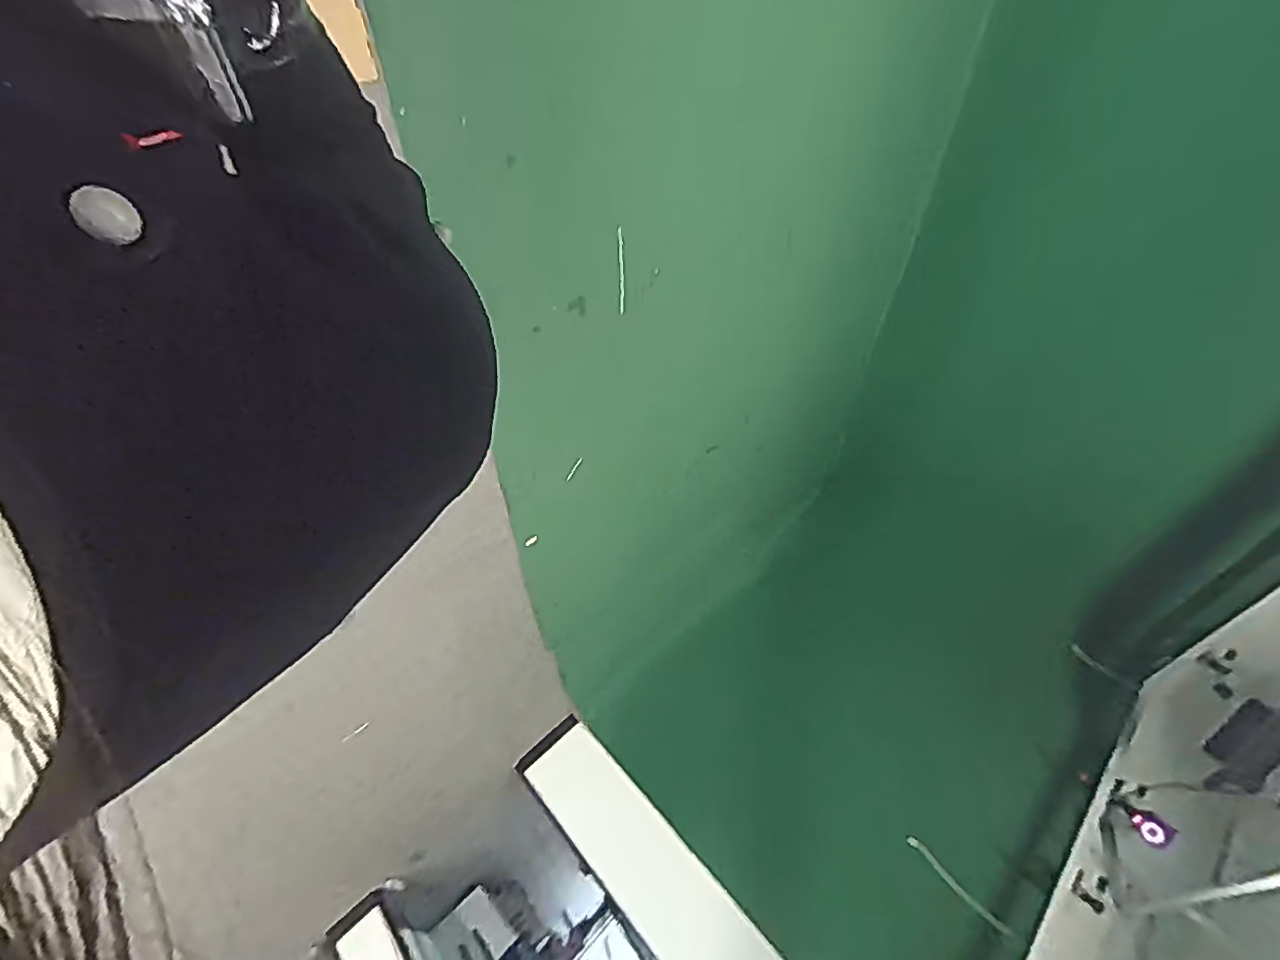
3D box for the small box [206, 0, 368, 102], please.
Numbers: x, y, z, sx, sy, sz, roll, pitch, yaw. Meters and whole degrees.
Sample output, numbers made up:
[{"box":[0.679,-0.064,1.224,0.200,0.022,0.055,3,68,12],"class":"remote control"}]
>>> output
[{"box":[-0.639,-0.806,0.980,0.179,0.176,0.168,-34,142,-28],"class":"small box"}]
